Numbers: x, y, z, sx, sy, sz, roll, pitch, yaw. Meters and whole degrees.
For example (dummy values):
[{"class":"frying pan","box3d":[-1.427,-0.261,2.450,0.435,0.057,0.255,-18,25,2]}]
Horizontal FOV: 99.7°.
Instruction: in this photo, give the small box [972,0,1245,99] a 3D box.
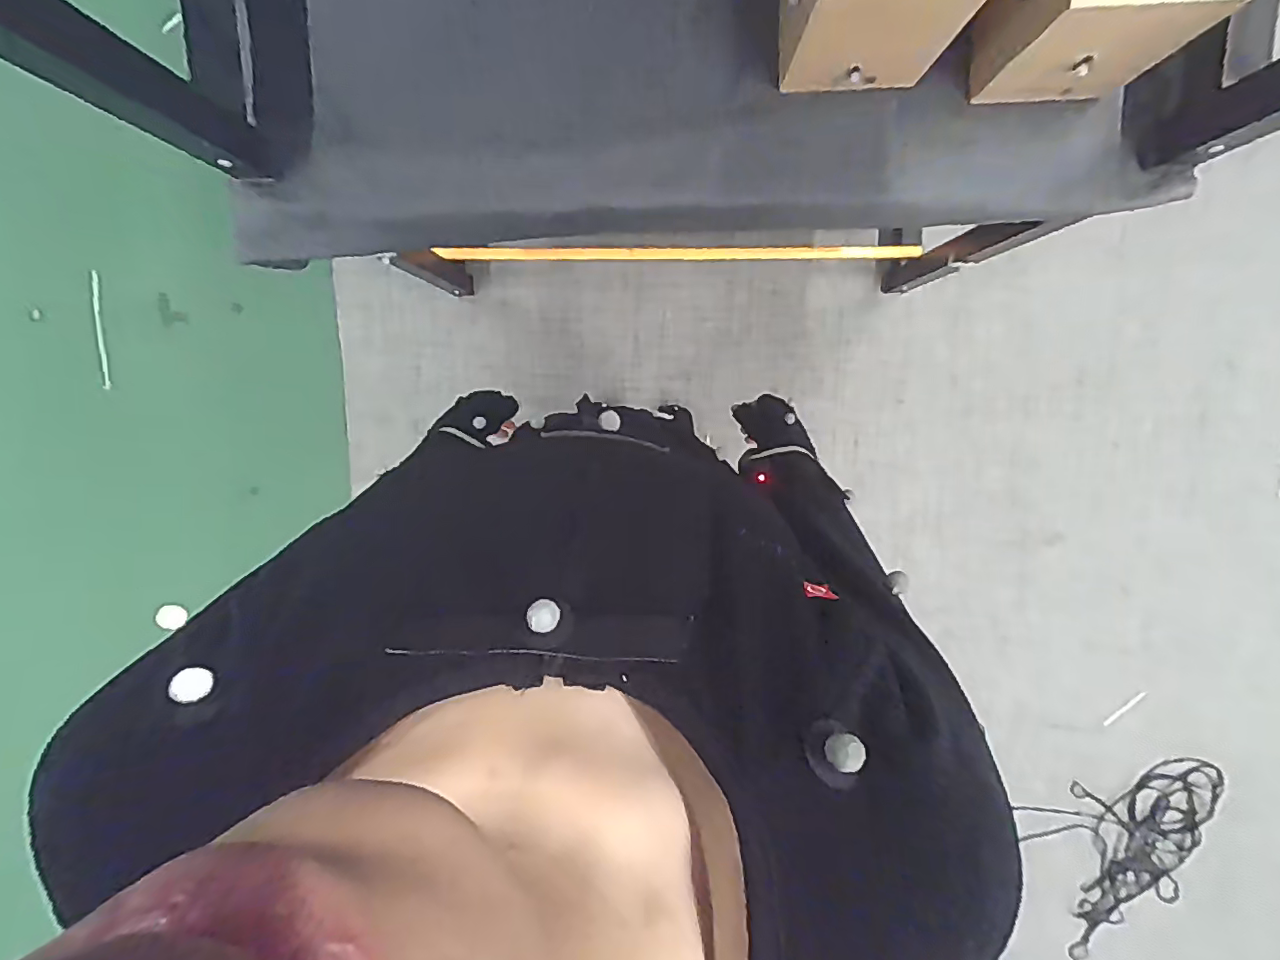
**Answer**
[{"class":"small box","box3d":[0.481,-0.534,0.570,0.168,0.176,0.179,-1,98,1]}]
